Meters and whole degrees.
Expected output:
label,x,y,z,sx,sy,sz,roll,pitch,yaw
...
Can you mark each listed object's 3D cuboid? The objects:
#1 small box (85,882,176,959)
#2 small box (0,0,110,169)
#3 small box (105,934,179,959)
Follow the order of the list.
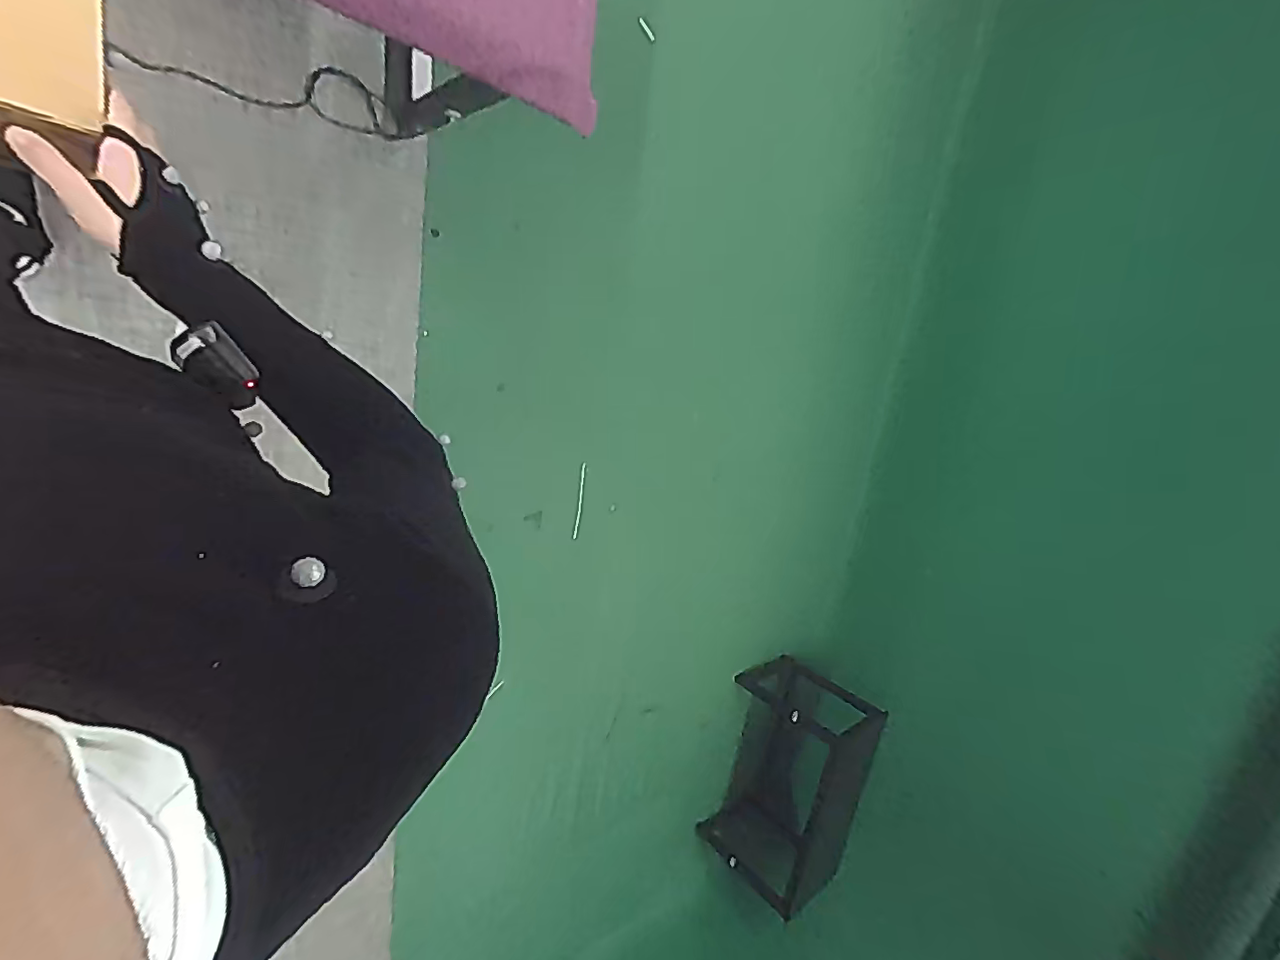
label,x,y,z,sx,sy,sz,roll,pitch,yaw
small box,-1.319,1.210,1.402,0.168,0.176,0.179,-1,108,-44
small box,-0.534,-0.376,0.416,0.168,0.176,0.179,-3,101,-49
small box,-1.210,1.255,1.290,0.168,0.176,0.179,-1,107,-44
